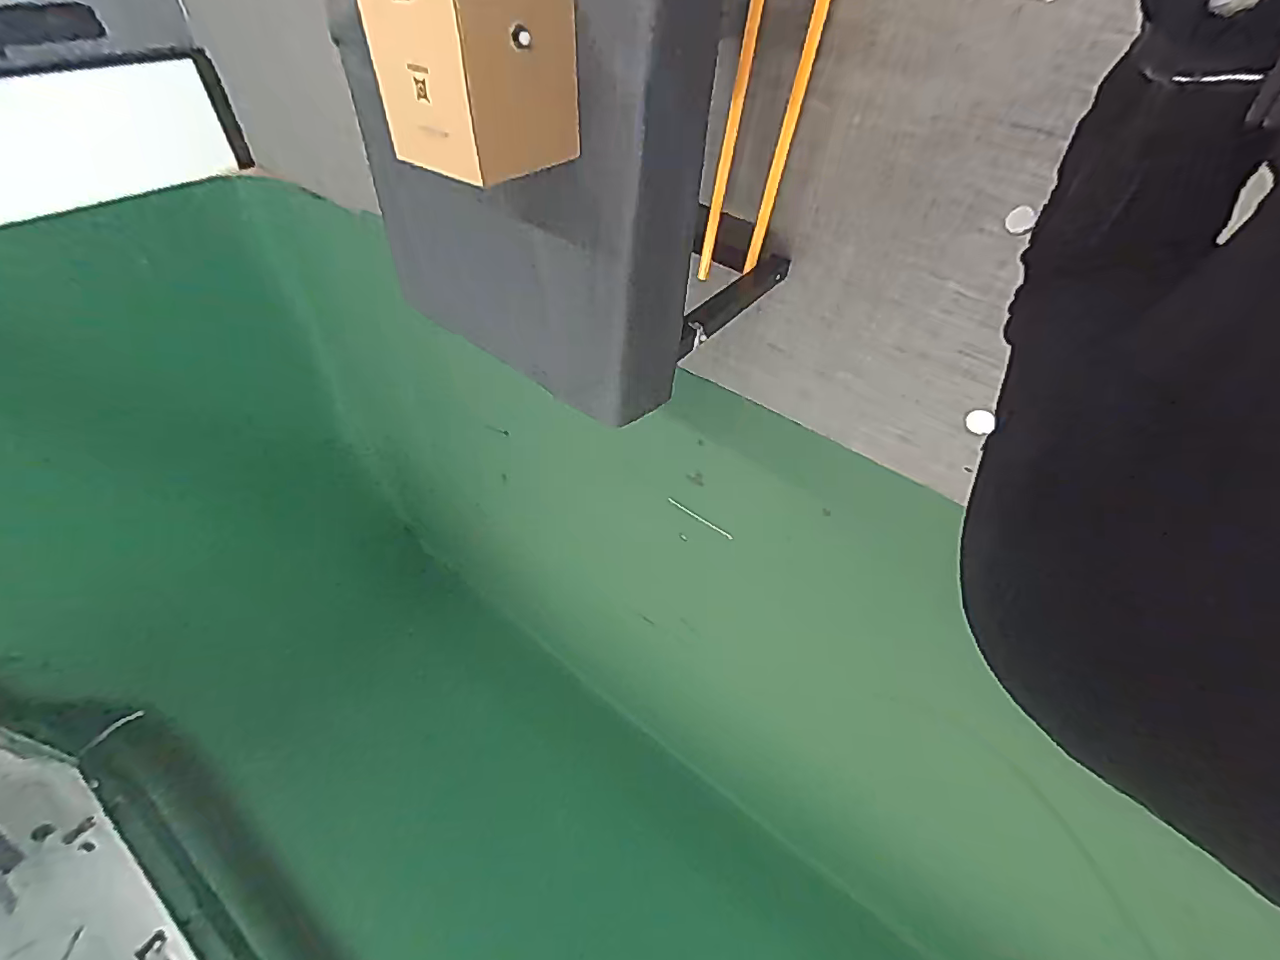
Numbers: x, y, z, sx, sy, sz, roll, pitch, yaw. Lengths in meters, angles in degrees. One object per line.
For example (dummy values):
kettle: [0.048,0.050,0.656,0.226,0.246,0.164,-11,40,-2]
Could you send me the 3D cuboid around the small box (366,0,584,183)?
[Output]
small box: [-0.181,-0.482,0.635,0.168,0.176,0.179,30,143,25]
